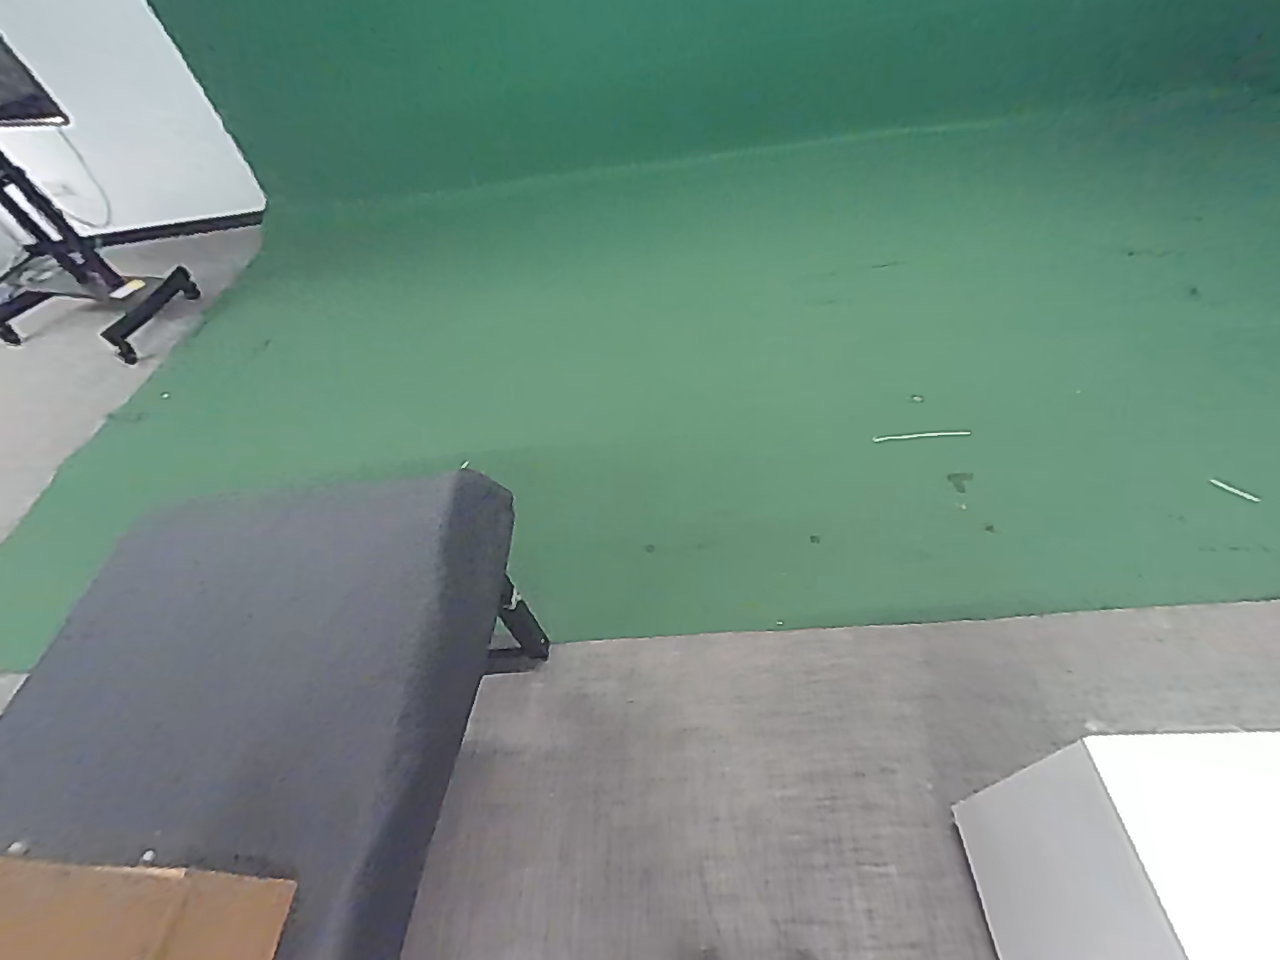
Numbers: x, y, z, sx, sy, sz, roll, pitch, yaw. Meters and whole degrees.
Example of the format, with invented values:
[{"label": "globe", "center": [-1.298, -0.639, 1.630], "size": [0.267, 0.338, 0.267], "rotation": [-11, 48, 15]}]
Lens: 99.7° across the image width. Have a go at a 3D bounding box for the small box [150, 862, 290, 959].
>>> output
[{"label": "small box", "center": [-0.476, 0.465, 0.503], "size": [0.168, 0.176, 0.179], "rotation": [-3, 51, 7]}]
